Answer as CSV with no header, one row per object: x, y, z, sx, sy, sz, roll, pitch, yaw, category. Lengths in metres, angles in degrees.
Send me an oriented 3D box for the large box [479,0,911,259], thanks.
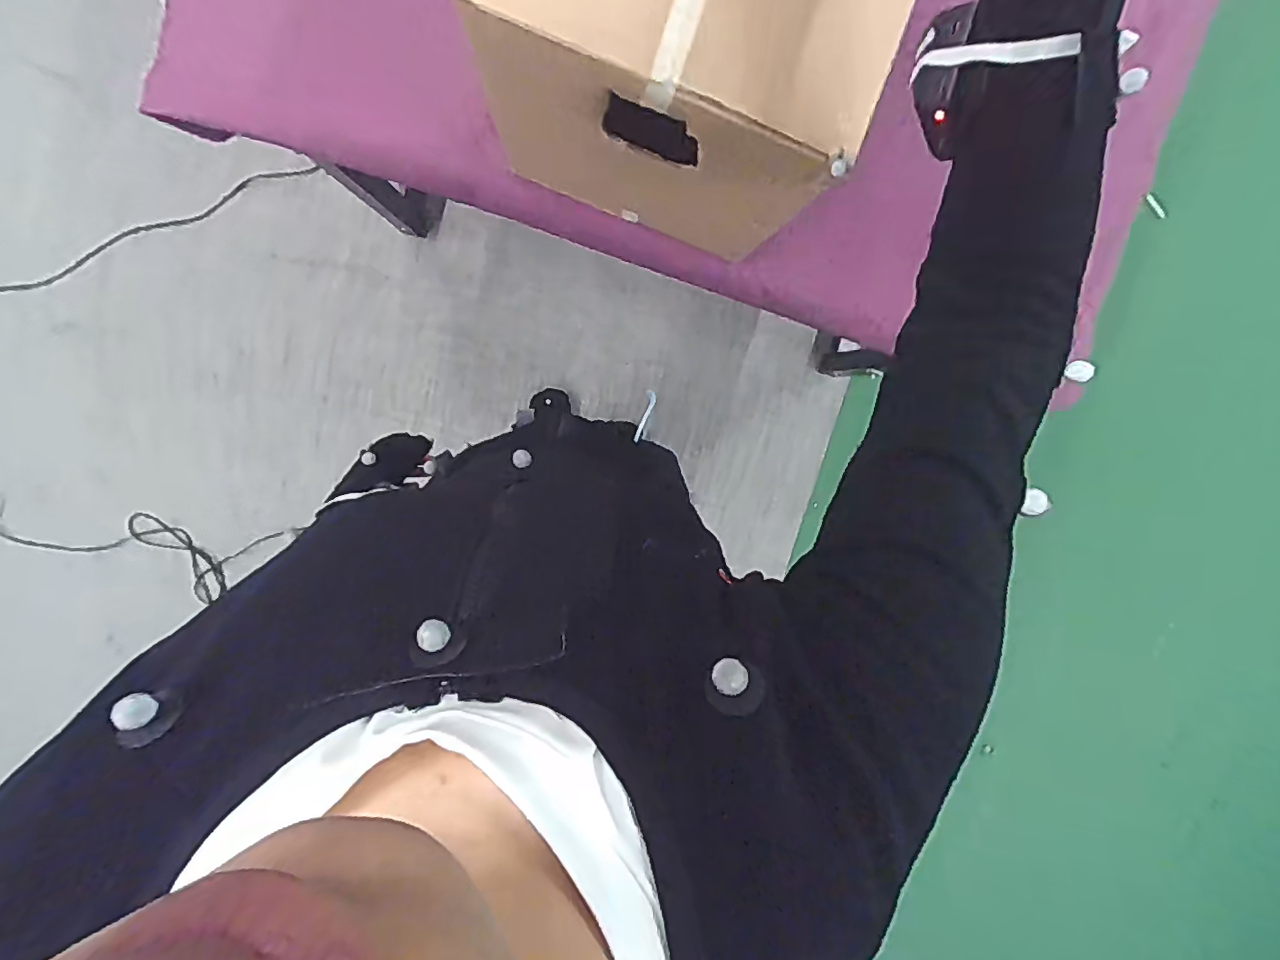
0.071,-0.501,0.536,0.320,0.320,0.408,19,98,-8,large box
